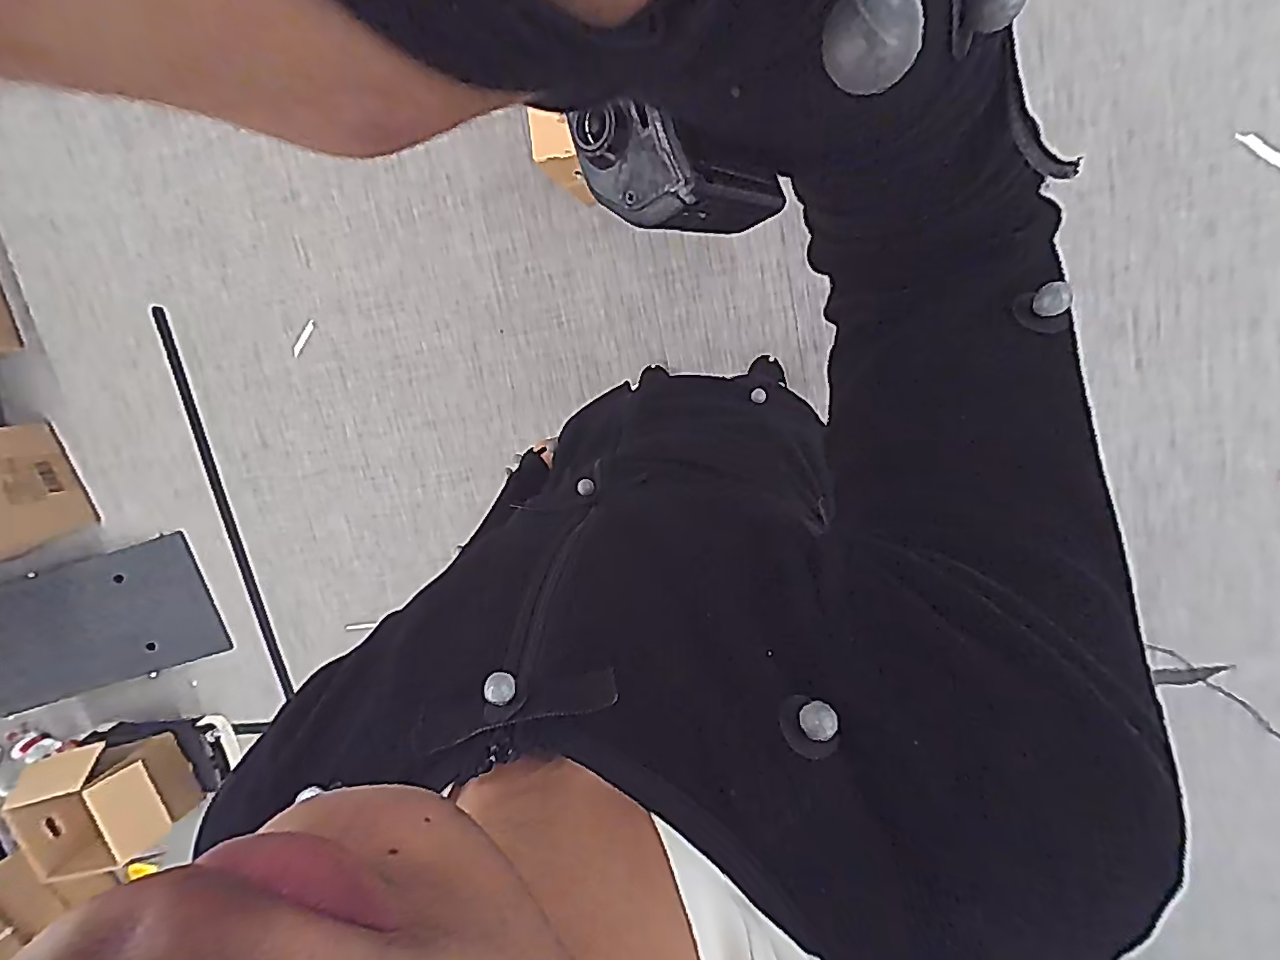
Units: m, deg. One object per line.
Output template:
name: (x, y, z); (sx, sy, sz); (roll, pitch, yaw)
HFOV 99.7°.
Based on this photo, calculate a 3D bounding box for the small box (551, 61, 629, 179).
small box: (-0.131, -0.877, 1.335); (0.168, 0.176, 0.179); (-6, 102, 14)

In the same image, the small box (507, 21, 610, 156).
small box: (-0.171, -0.844, 1.183); (0.168, 0.176, 0.179); (-3, 103, 12)
